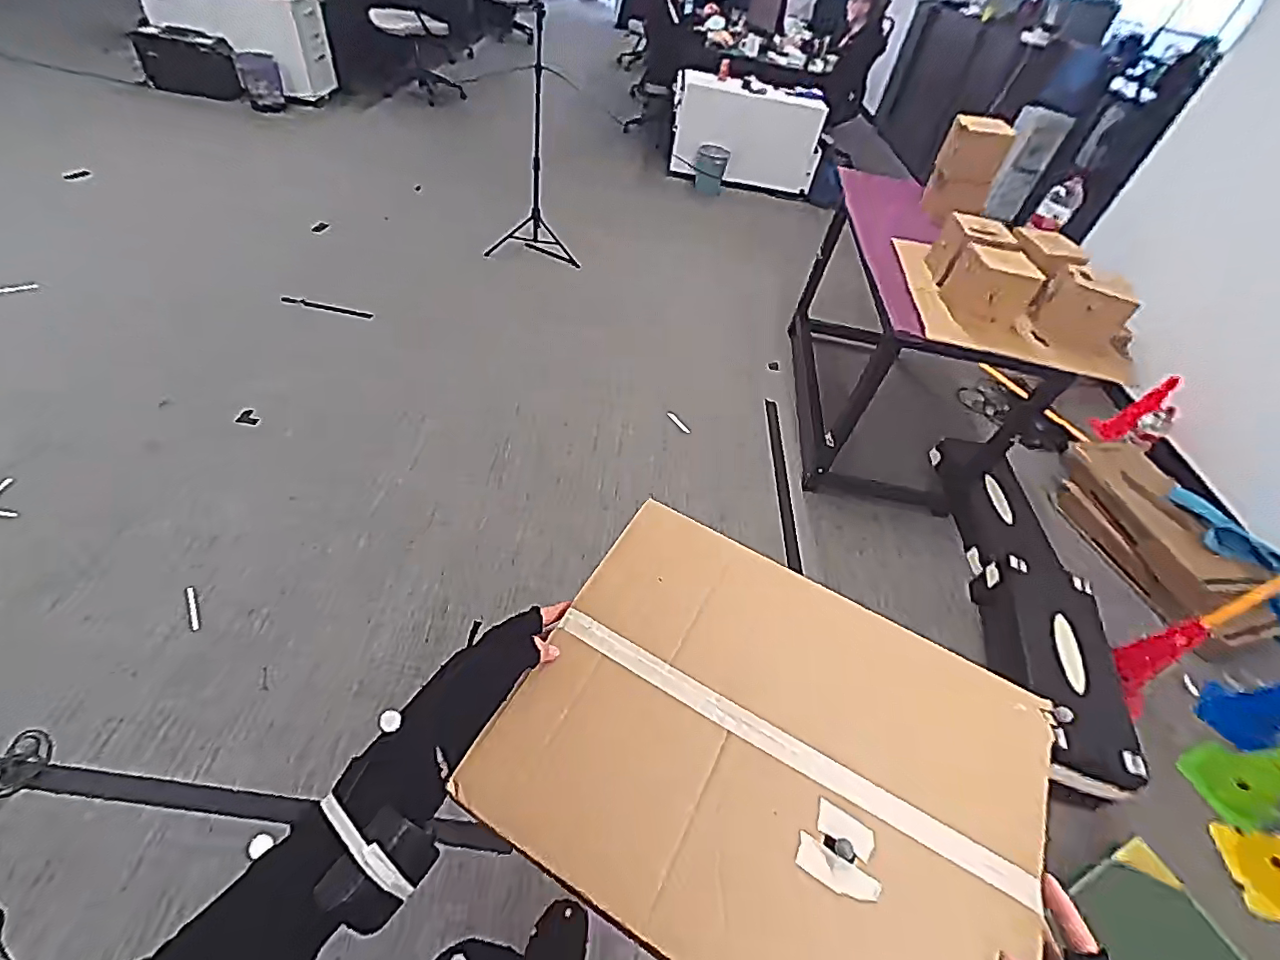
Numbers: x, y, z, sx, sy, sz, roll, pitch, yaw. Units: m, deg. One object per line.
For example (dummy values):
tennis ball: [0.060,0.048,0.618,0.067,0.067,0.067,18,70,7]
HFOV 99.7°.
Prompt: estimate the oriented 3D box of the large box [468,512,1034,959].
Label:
large box: [0.096,0.306,0.563,0.408,0.320,0.320,27,55,14]
